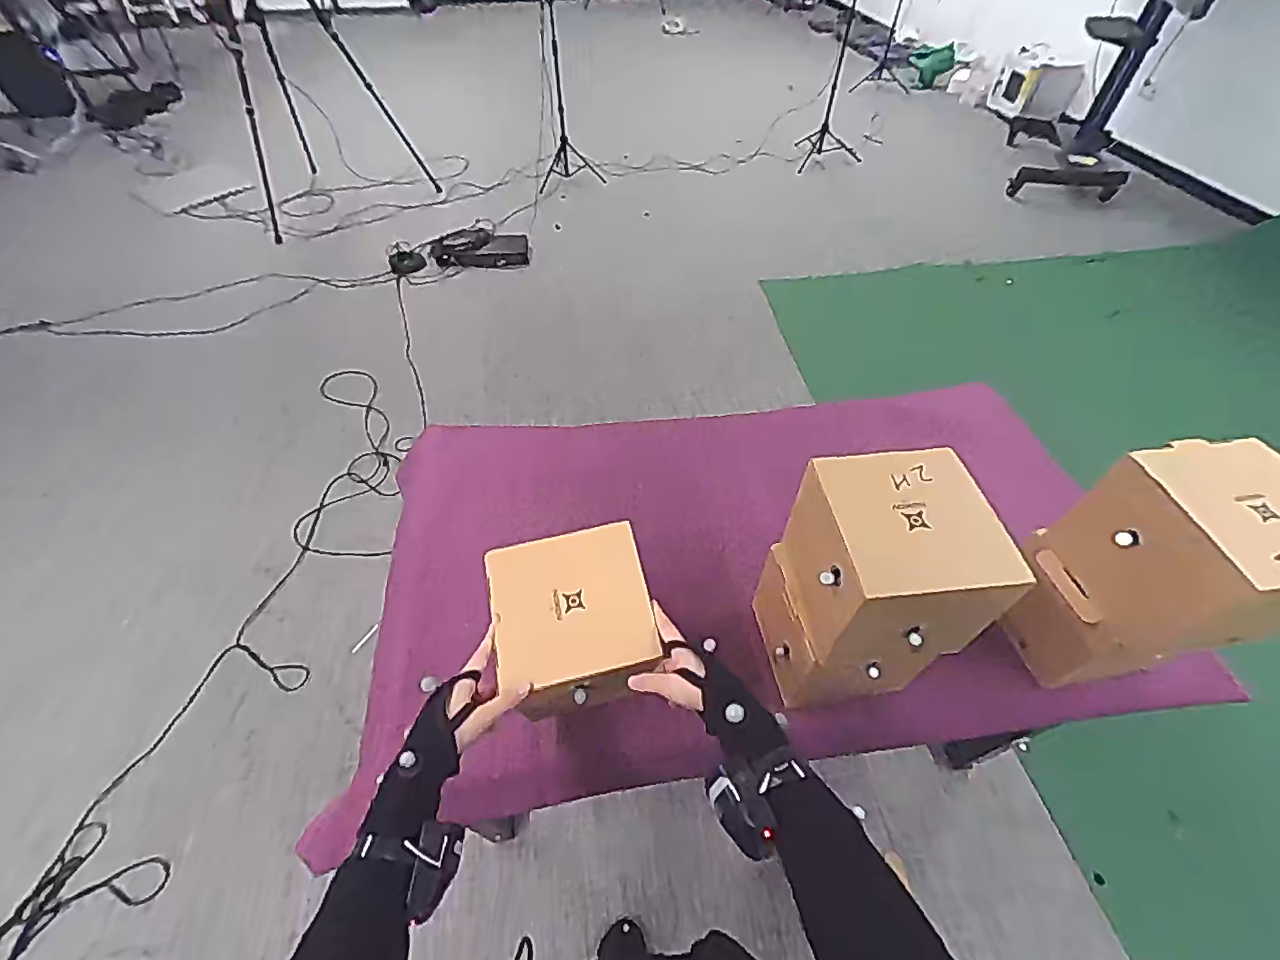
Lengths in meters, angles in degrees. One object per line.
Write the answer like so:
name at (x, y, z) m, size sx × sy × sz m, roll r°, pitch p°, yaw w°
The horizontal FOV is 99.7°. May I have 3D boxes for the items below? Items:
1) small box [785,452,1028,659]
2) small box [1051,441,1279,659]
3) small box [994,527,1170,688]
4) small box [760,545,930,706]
small box at (0.278, 0.091, 0.615) m, size 0.168 × 0.176 × 0.179 m, roll -4°, pitch 50°, yaw -3°
small box at (0.630, 0.081, 0.617) m, size 0.168 × 0.176 × 0.179 m, roll -7°, pitch 50°, yaw -4°
small box at (0.631, 0.172, 0.754) m, size 0.179 × 0.176 × 0.168 m, roll -8°, pitch 51°, yaw -6°
small box at (0.273, 0.194, 0.742) m, size 0.179 × 0.176 × 0.168 m, roll -6°, pitch 50°, yaw -5°
